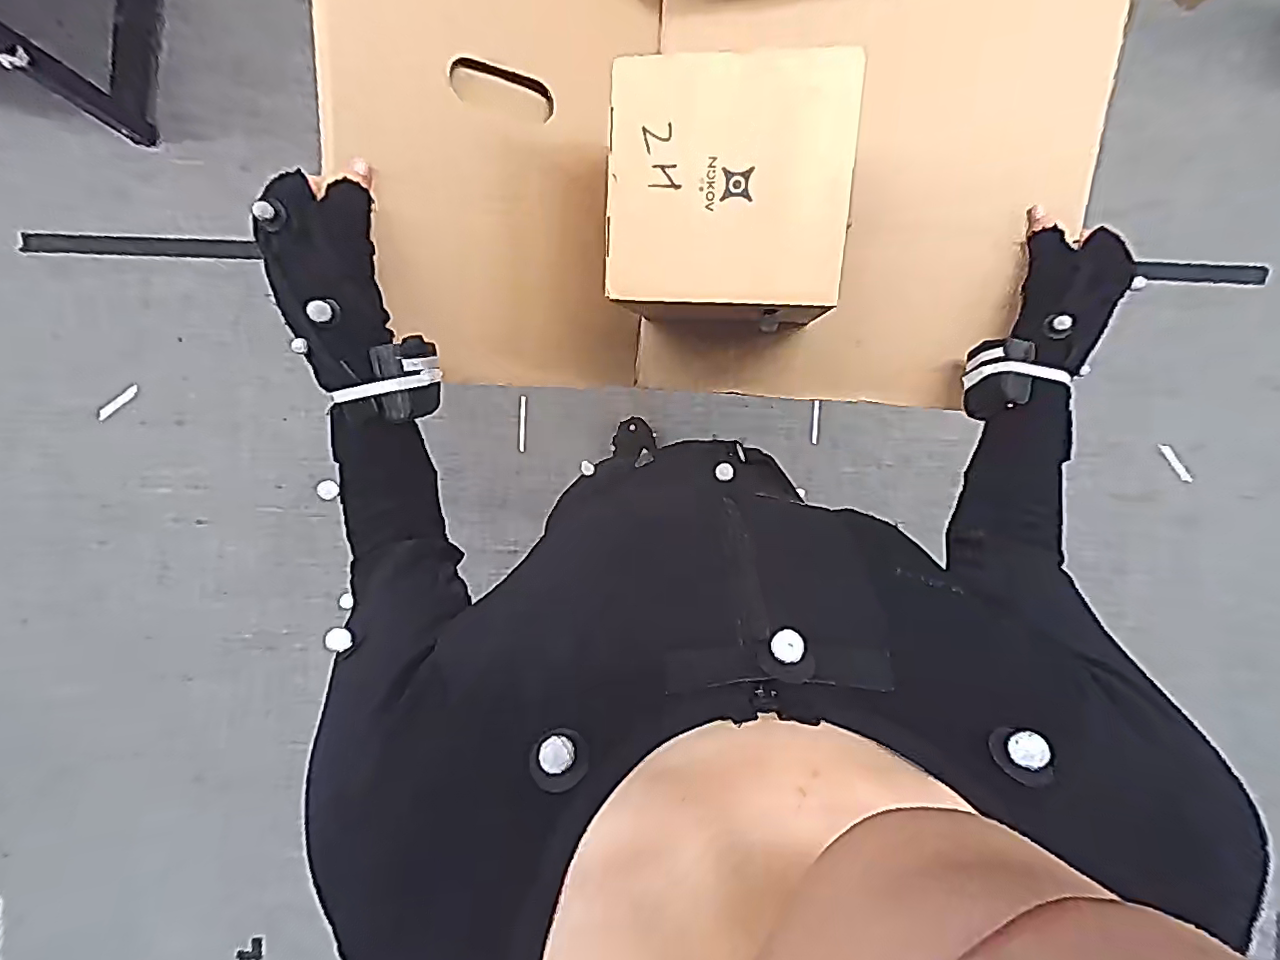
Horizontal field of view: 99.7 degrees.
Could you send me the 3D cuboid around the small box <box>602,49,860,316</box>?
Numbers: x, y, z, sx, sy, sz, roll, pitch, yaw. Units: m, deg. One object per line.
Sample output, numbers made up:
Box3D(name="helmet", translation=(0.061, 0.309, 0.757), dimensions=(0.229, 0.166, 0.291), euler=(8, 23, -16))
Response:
Box3D(name="small box", translation=(0.074, -0.237, 0.472), dimensions=(0.179, 0.176, 0.168), euler=(6, 103, 10))
